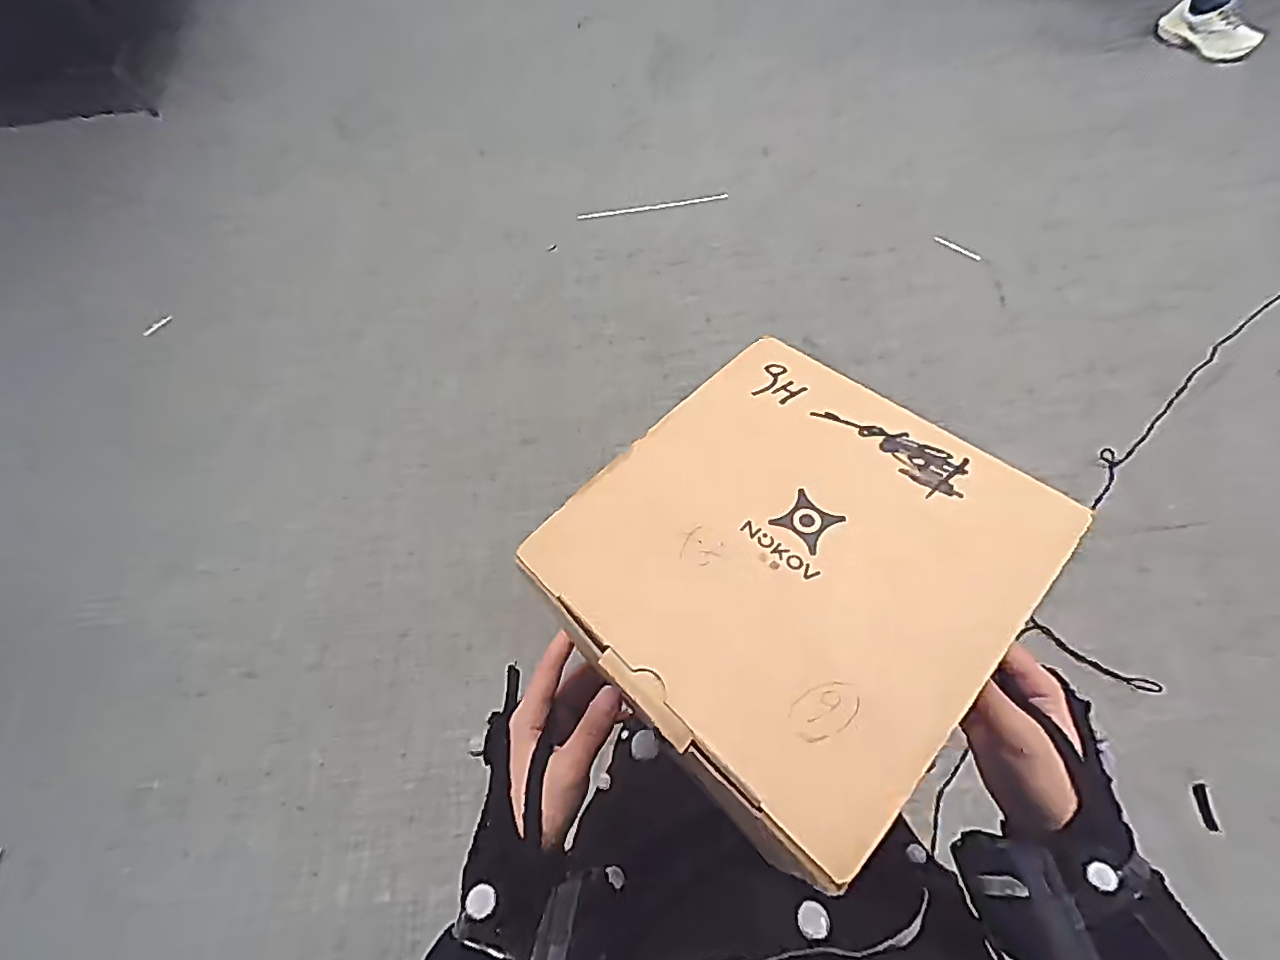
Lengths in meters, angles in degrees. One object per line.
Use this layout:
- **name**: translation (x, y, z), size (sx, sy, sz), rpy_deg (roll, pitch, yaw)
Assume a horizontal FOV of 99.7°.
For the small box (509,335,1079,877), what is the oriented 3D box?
- **small box**: translation (0.068, 0.065, 0.290), size (0.179, 0.176, 0.168), rpy_deg (-41, 62, -18)
